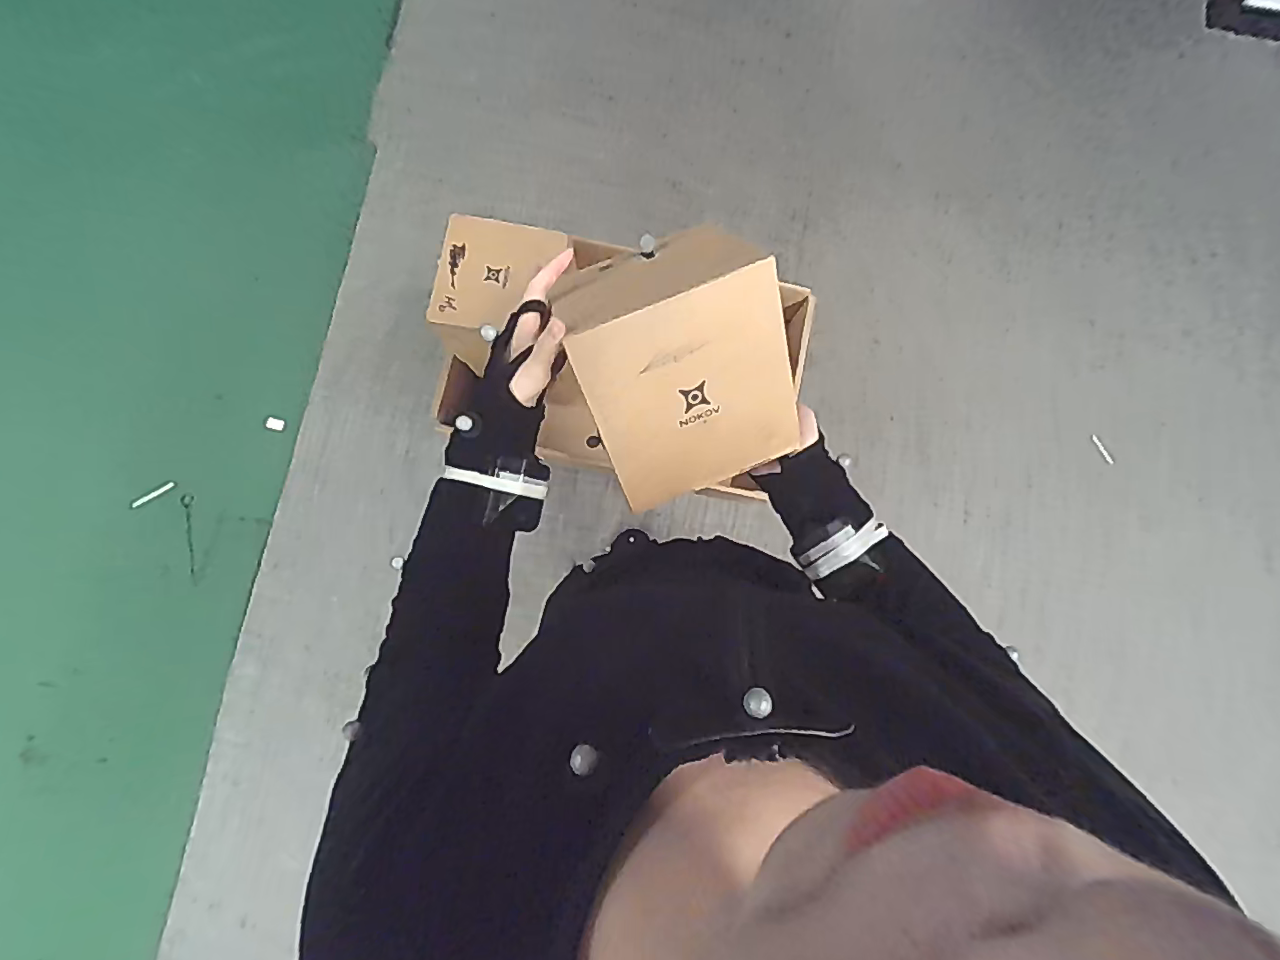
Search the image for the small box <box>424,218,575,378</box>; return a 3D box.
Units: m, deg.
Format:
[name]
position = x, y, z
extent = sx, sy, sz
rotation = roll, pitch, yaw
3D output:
[small box]
position = -0.202, -0.267, 0.834
extent = 0.179, 0.176, 0.168
rotation = 9, 82, 0
